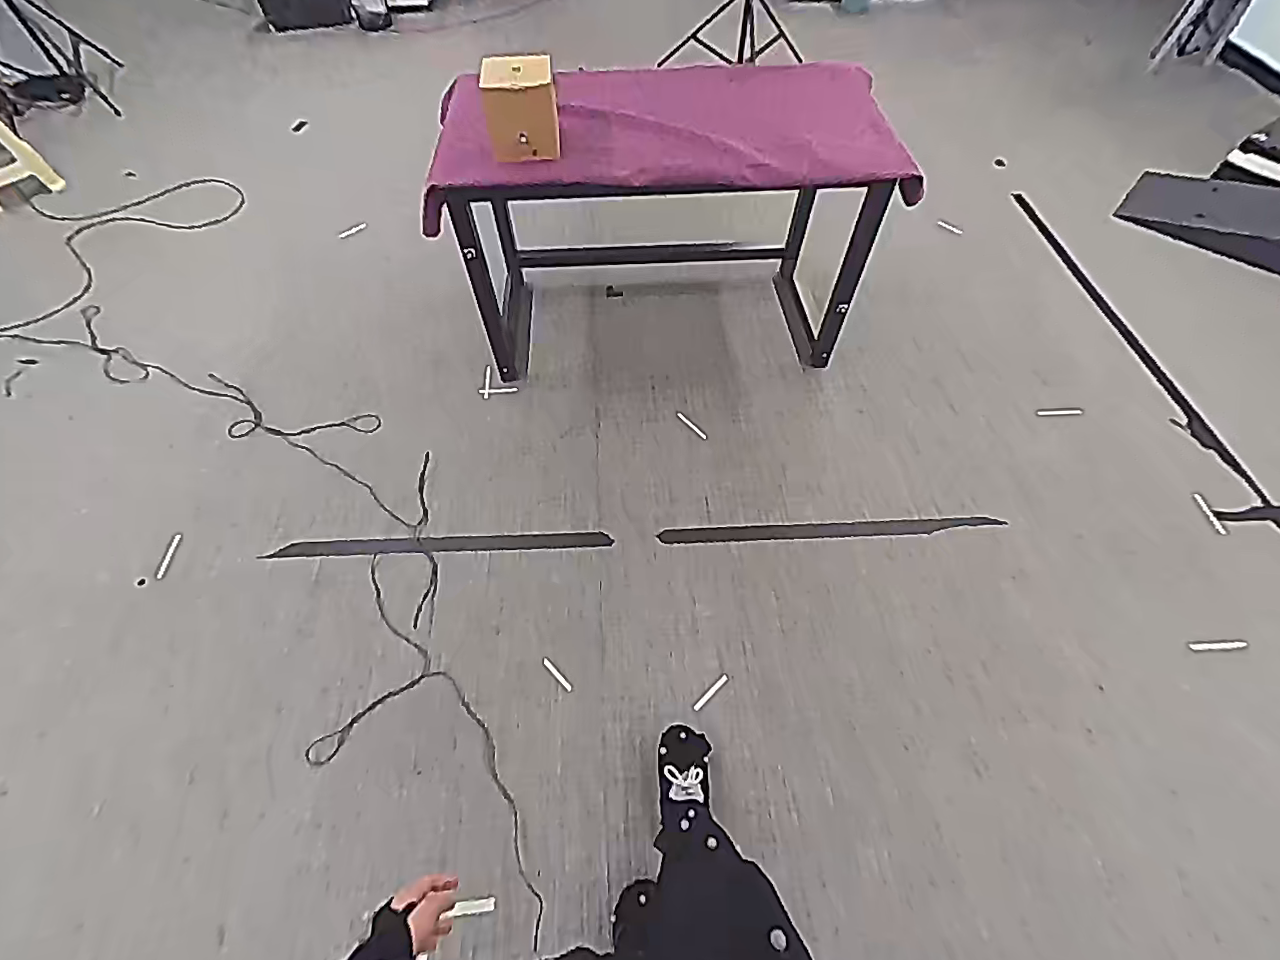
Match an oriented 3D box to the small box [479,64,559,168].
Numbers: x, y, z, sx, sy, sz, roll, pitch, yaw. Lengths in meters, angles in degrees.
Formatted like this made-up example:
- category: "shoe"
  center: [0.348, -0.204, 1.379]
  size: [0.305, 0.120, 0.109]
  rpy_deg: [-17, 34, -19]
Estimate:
- category: "small box"
  center: [-0.299, -0.917, 1.364]
  size: [0.168, 0.176, 0.179]
  rpy_deg: [-5, 57, -3]
